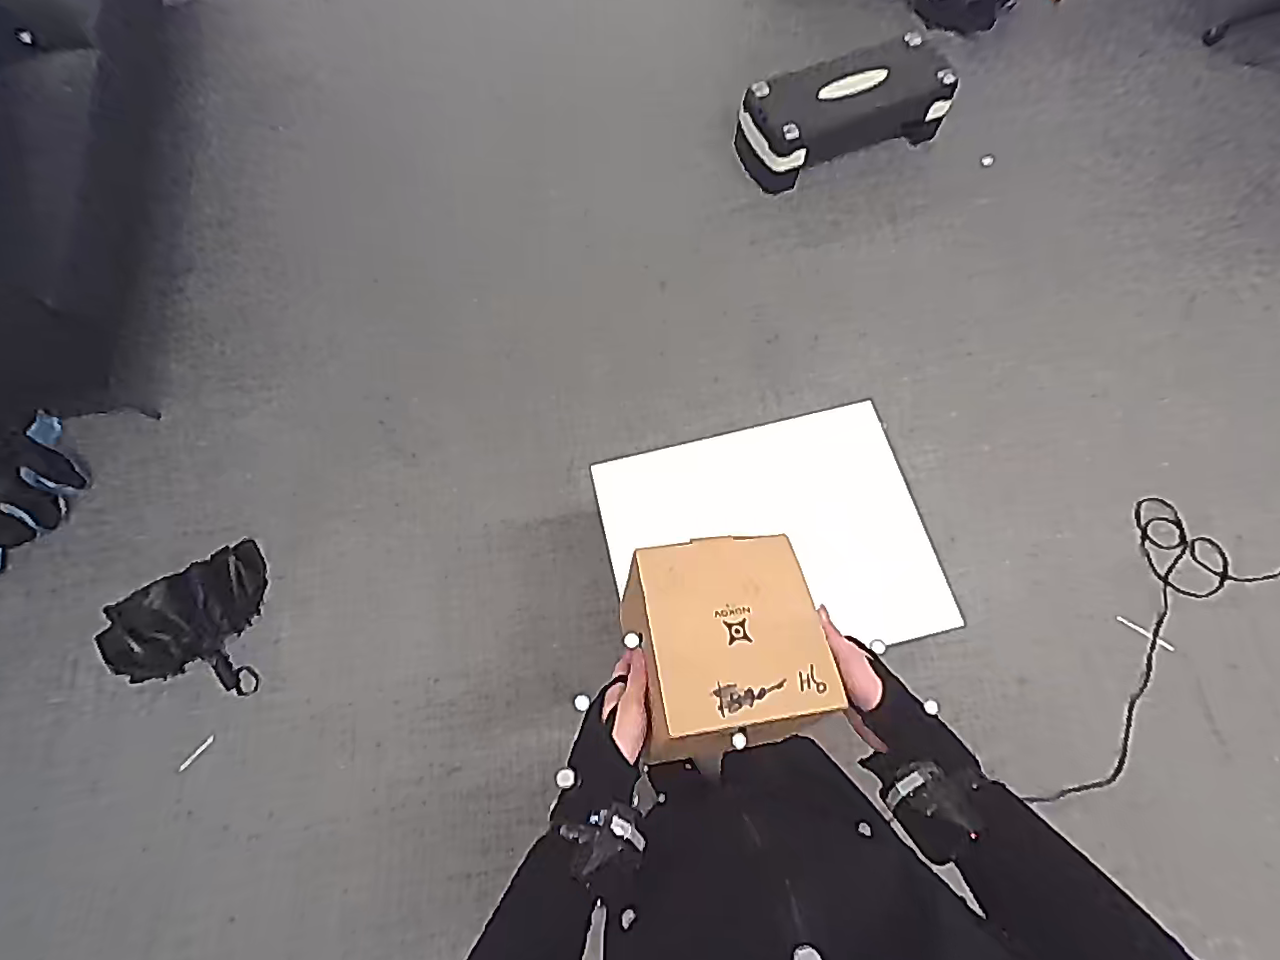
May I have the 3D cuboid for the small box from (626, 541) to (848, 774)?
[{"bbox_3d":[0.081,0.187,0.569,0.168,0.176,0.179,-6,54,-10],"label":"small box"}]
